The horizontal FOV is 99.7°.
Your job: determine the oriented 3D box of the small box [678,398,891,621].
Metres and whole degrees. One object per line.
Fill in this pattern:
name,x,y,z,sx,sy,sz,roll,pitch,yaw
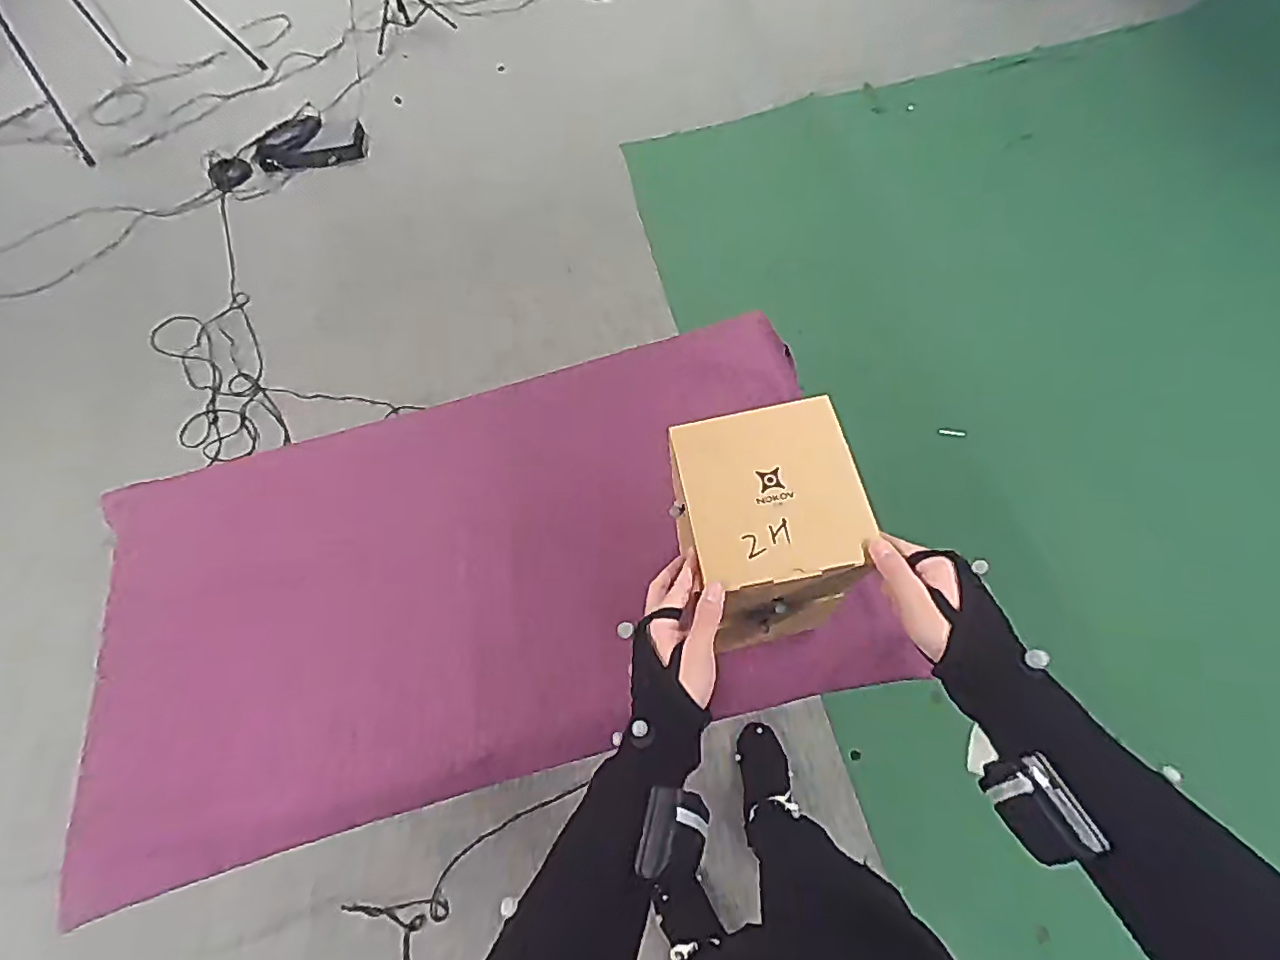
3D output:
small box,0.136,0.040,0.584,0.168,0.176,0.179,-11,66,2

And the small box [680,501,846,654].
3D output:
small box,0.154,0.121,0.742,0.168,0.176,0.179,-14,62,0
